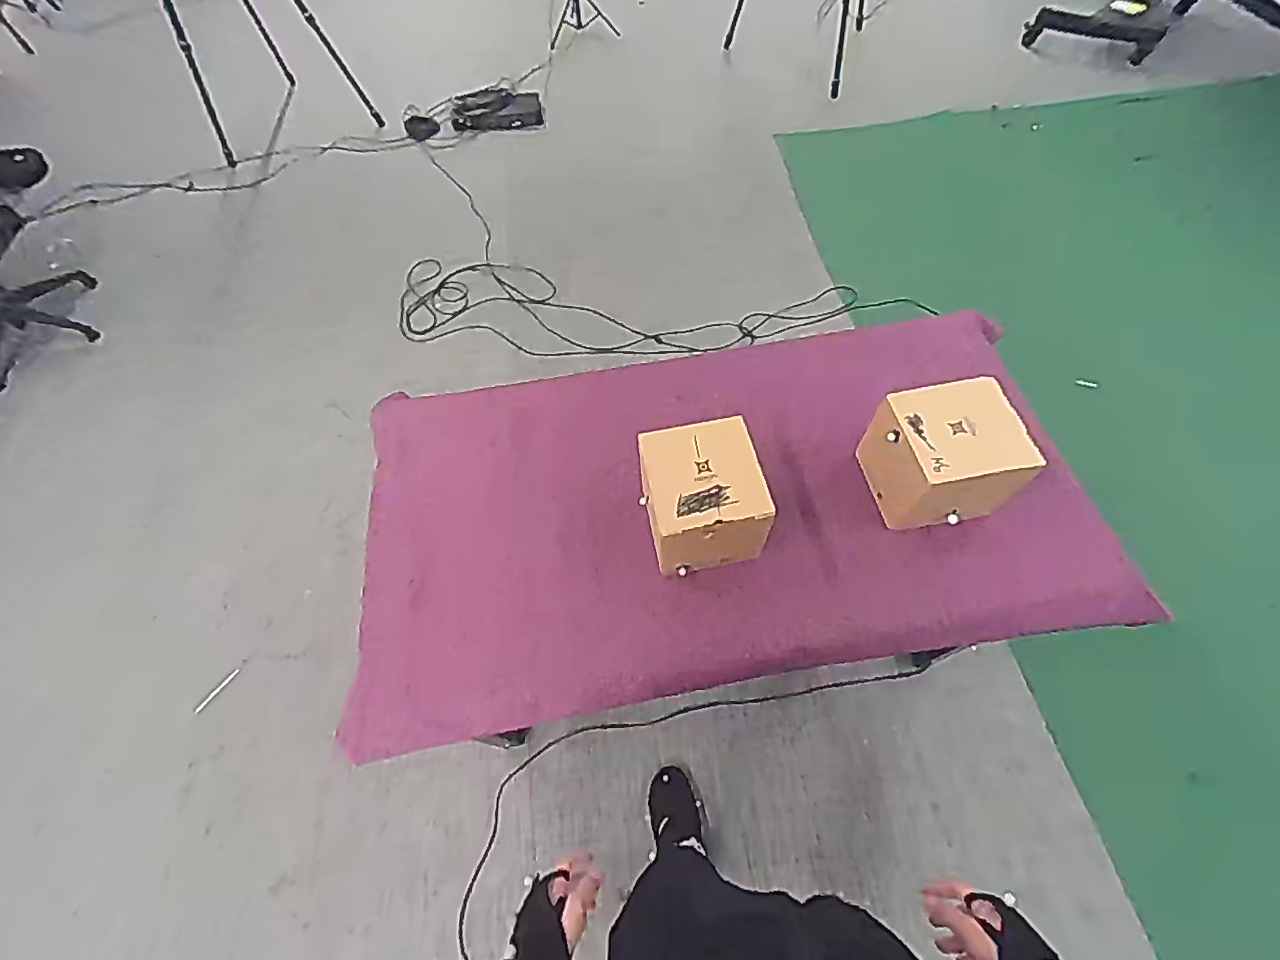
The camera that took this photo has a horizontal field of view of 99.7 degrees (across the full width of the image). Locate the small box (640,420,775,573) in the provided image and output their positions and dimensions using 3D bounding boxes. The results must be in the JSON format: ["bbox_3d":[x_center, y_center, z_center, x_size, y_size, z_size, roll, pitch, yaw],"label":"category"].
[{"bbox_3d":[0.098,0.035,0.850,0.168,0.176,0.179,-10,59,-3],"label":"small box"}]

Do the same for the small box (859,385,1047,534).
[{"bbox_3d":[0.483,-0.028,0.868,0.179,0.176,0.168,-9,60,-2],"label":"small box"}]
